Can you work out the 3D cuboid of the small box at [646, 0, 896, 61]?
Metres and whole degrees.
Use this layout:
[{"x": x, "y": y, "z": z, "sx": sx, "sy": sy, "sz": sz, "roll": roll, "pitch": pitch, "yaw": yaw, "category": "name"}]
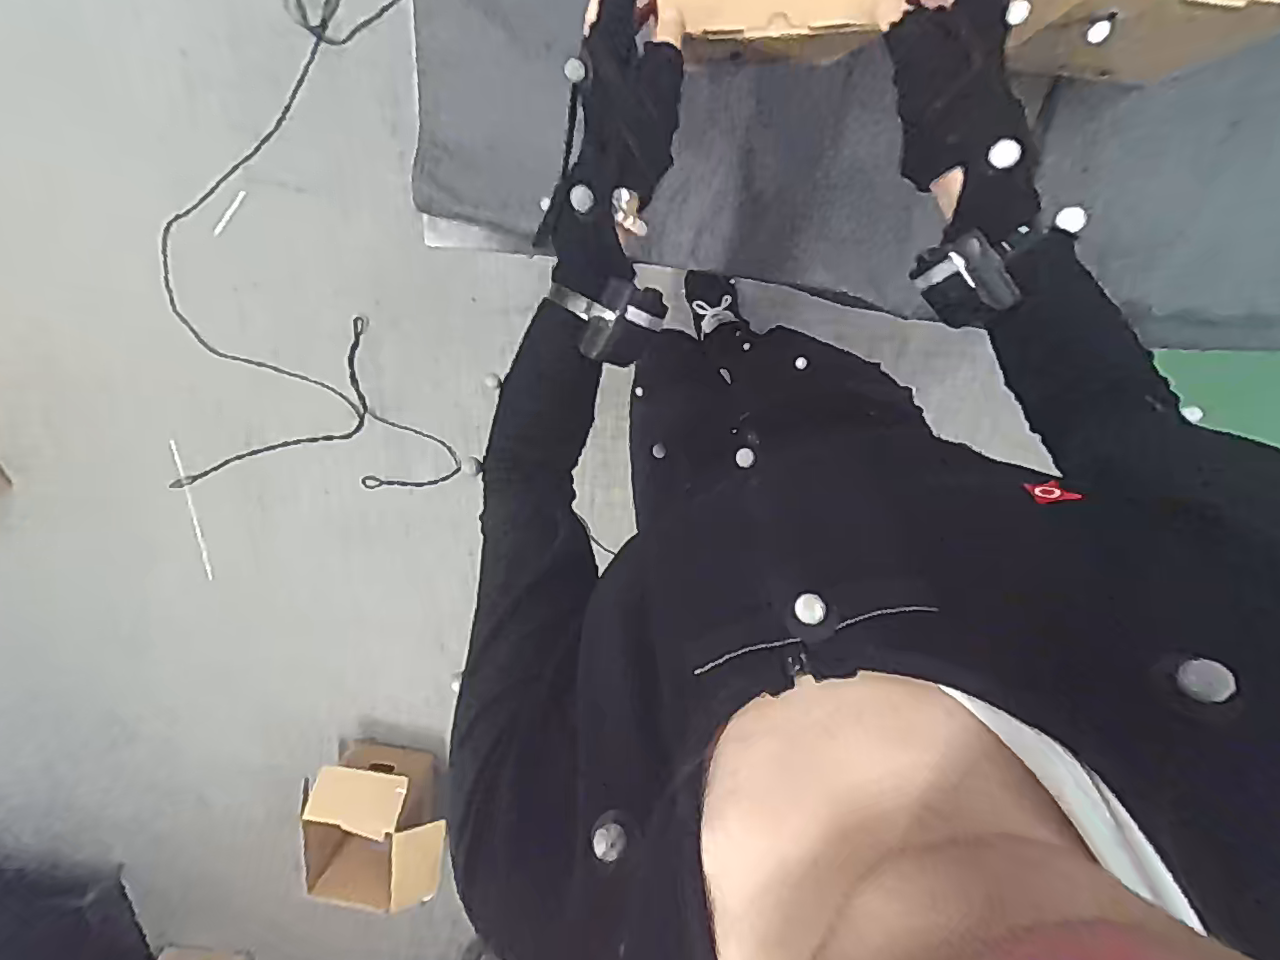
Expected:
[{"x": 0.087, "y": -0.424, "z": 0.389, "sx": 0.168, "sy": 0.176, "sz": 0.179, "roll": -1, "pitch": 123, "yaw": 1, "category": "small box"}]
